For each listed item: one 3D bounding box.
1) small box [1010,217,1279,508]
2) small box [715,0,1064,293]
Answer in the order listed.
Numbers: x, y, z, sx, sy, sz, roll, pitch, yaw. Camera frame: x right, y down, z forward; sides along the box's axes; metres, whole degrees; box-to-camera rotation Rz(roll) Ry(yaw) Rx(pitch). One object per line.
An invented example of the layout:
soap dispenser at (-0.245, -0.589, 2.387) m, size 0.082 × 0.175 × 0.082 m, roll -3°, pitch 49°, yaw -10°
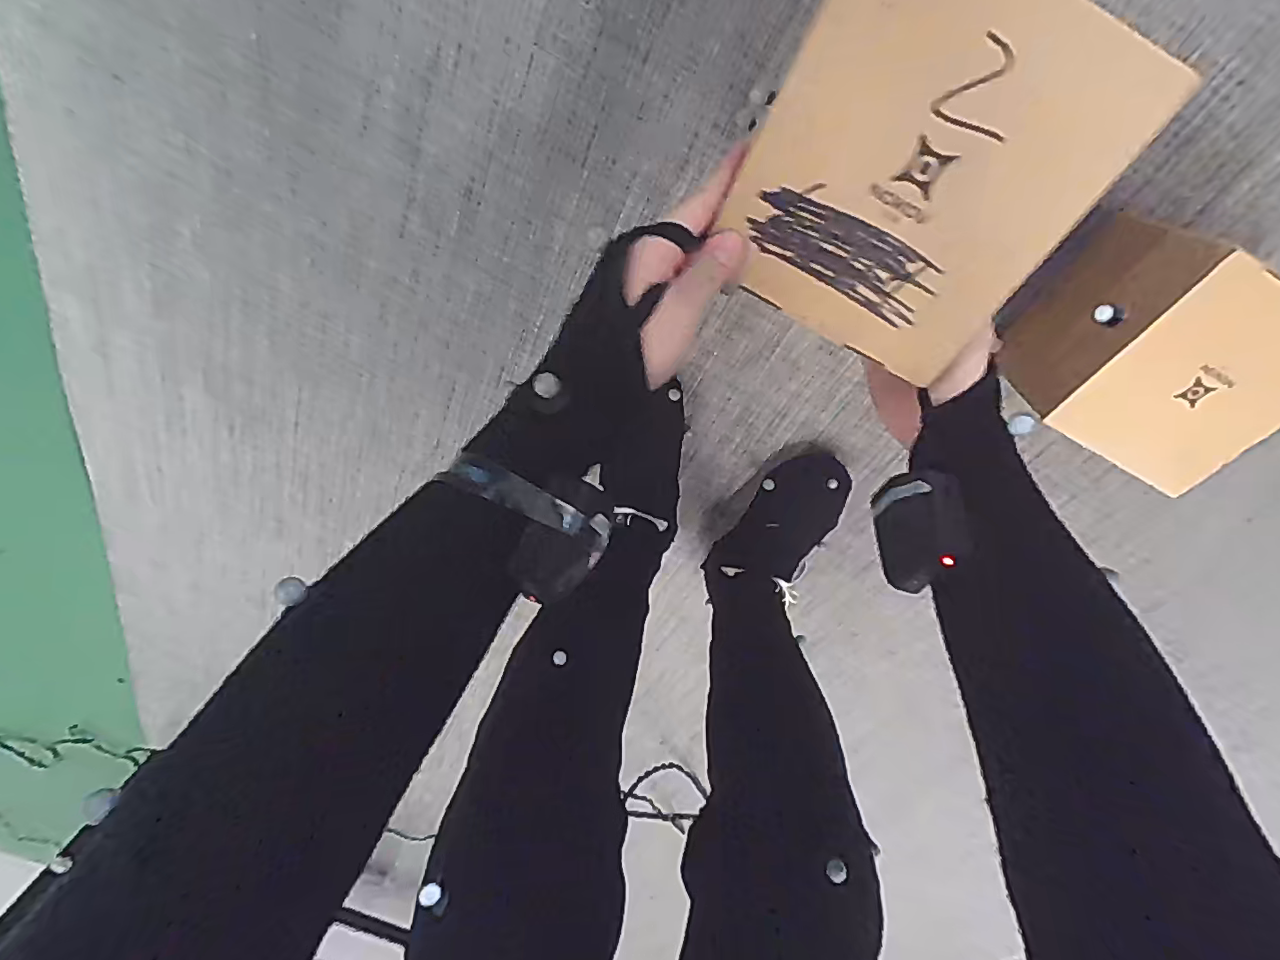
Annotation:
small box at (0.491, -0.114, 0.507) m, size 0.168 × 0.176 × 0.179 m, roll 29°, pitch 125°, yaw -7°
small box at (0.187, -0.296, 0.451) m, size 0.168 × 0.176 × 0.179 m, roll 38°, pitch 123°, yaw -14°
